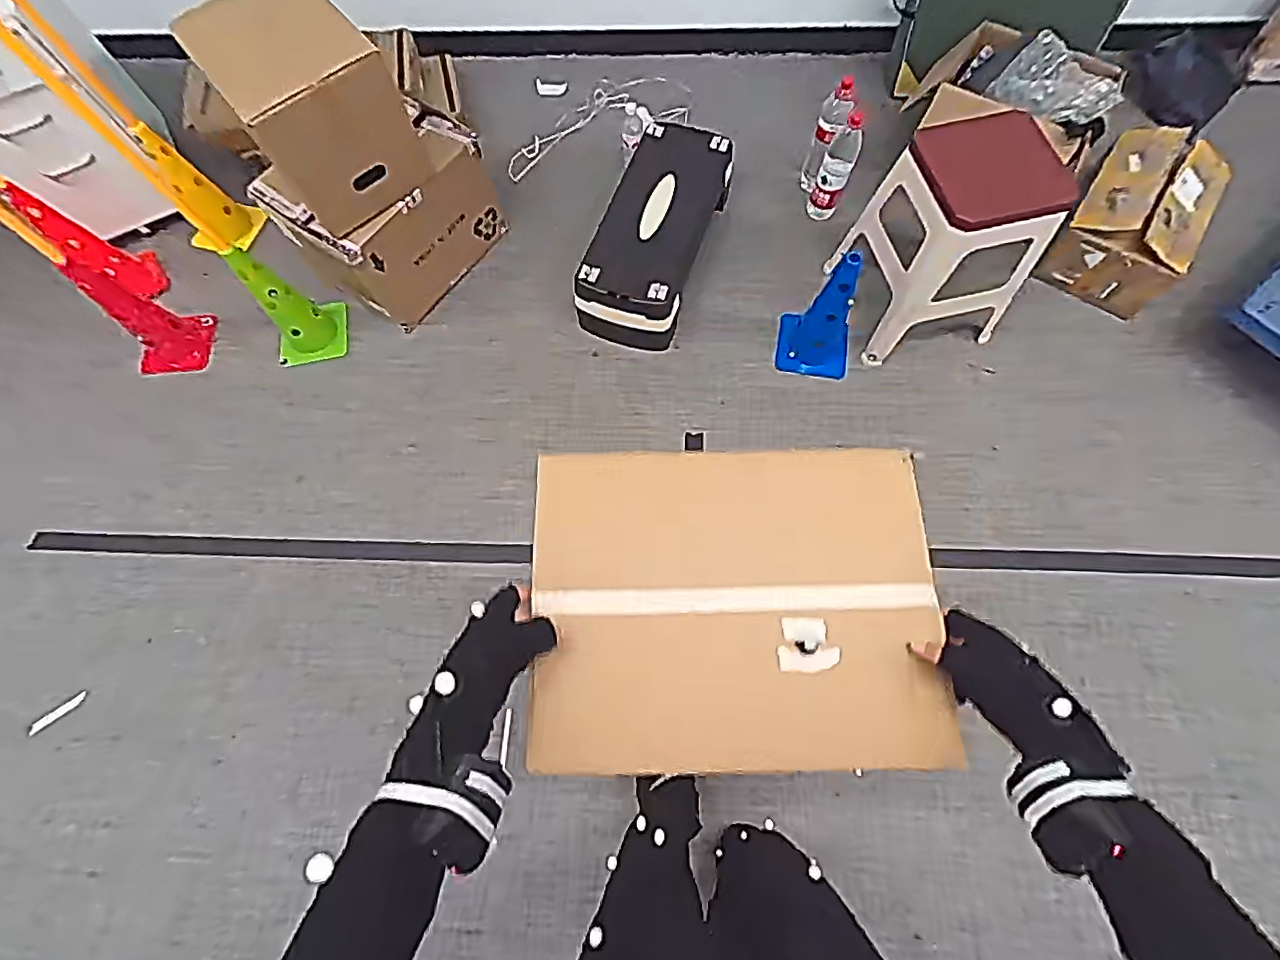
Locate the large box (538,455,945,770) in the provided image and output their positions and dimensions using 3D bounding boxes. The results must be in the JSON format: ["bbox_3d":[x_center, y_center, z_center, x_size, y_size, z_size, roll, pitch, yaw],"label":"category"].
[{"bbox_3d":[0.092,0.168,0.705,0.408,0.320,0.320,-1,74,-1],"label":"large box"}]
